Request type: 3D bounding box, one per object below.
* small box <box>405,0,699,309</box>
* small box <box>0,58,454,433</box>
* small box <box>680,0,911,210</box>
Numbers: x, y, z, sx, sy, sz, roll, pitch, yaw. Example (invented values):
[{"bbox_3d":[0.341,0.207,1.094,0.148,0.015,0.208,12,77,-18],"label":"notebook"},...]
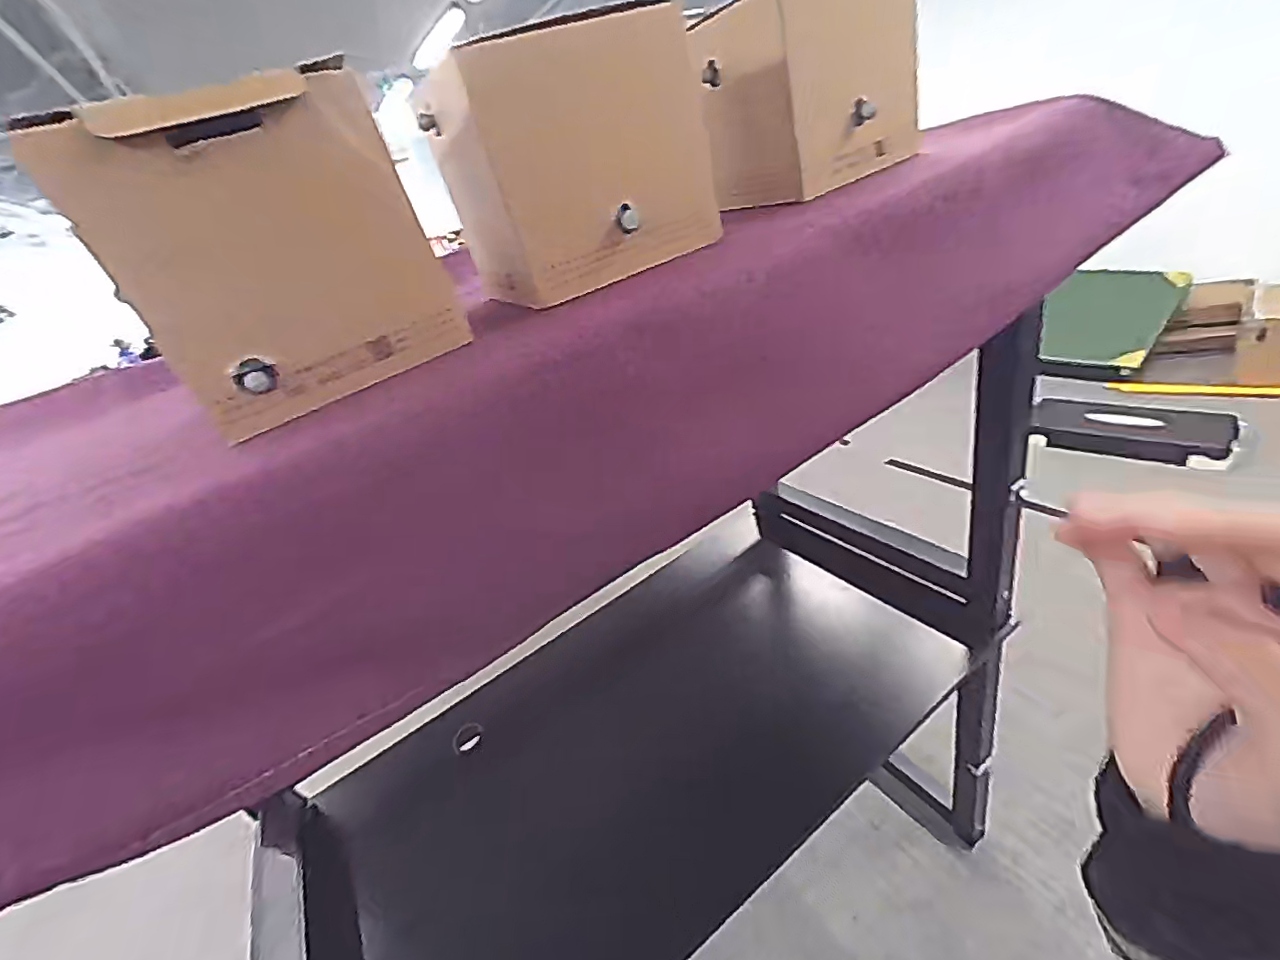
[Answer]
[{"bbox_3d":[-0.066,-0.259,0.454,0.179,0.176,0.168,-28,31,-18],"label":"small box"},{"bbox_3d":[-0.256,-0.149,0.374,0.168,0.176,0.179,-33,32,-24],"label":"small box"},{"bbox_3d":[0.148,-0.390,0.552,0.168,0.176,0.179,-30,32,-18],"label":"small box"}]
